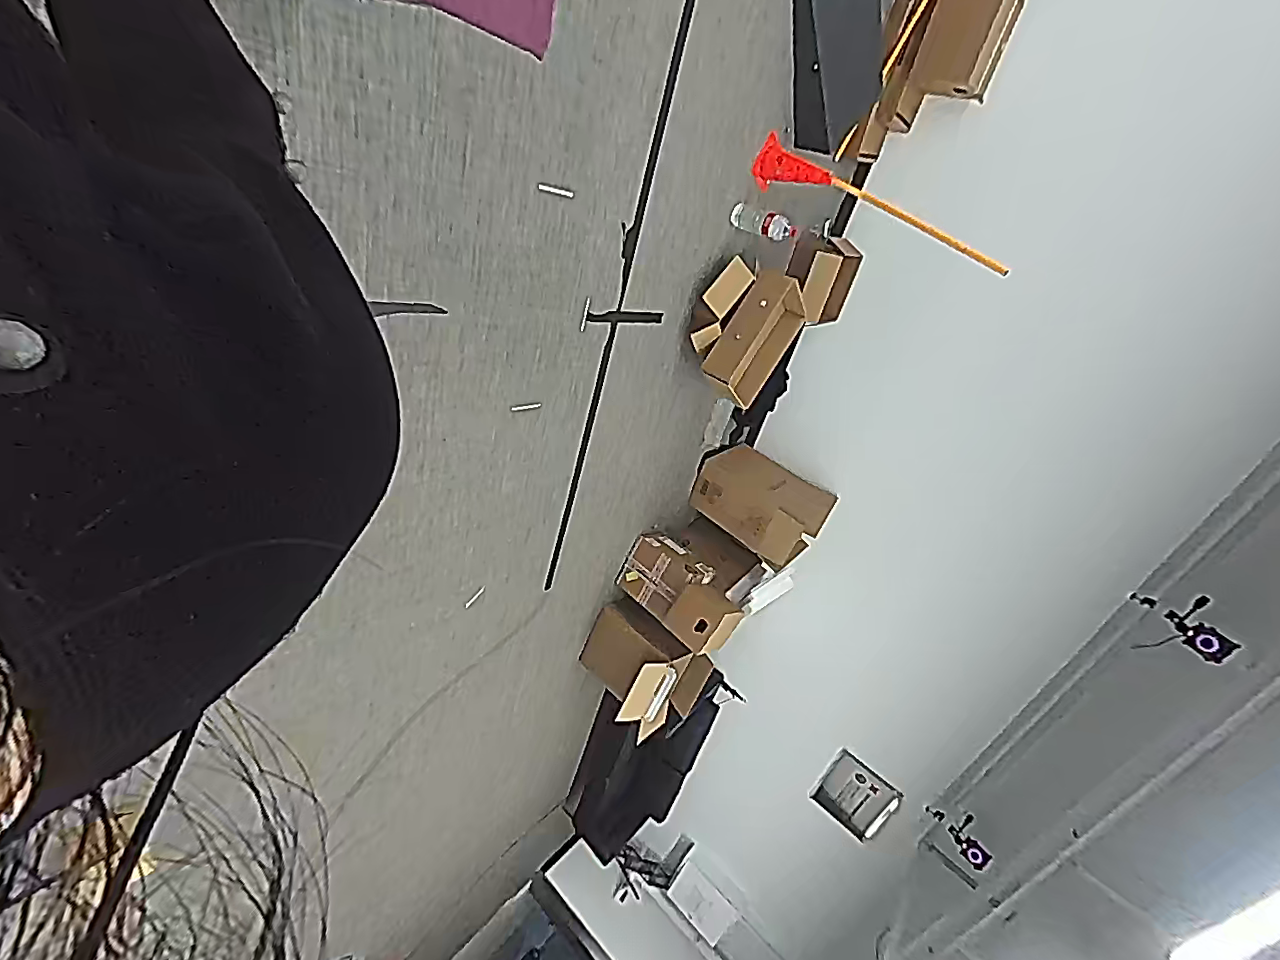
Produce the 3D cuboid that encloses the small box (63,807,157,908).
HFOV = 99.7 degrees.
[{"bbox_3d":[-1.665,1.175,1.699,0.168,0.176,0.179,-22,138,-47],"label":"small box"}]
